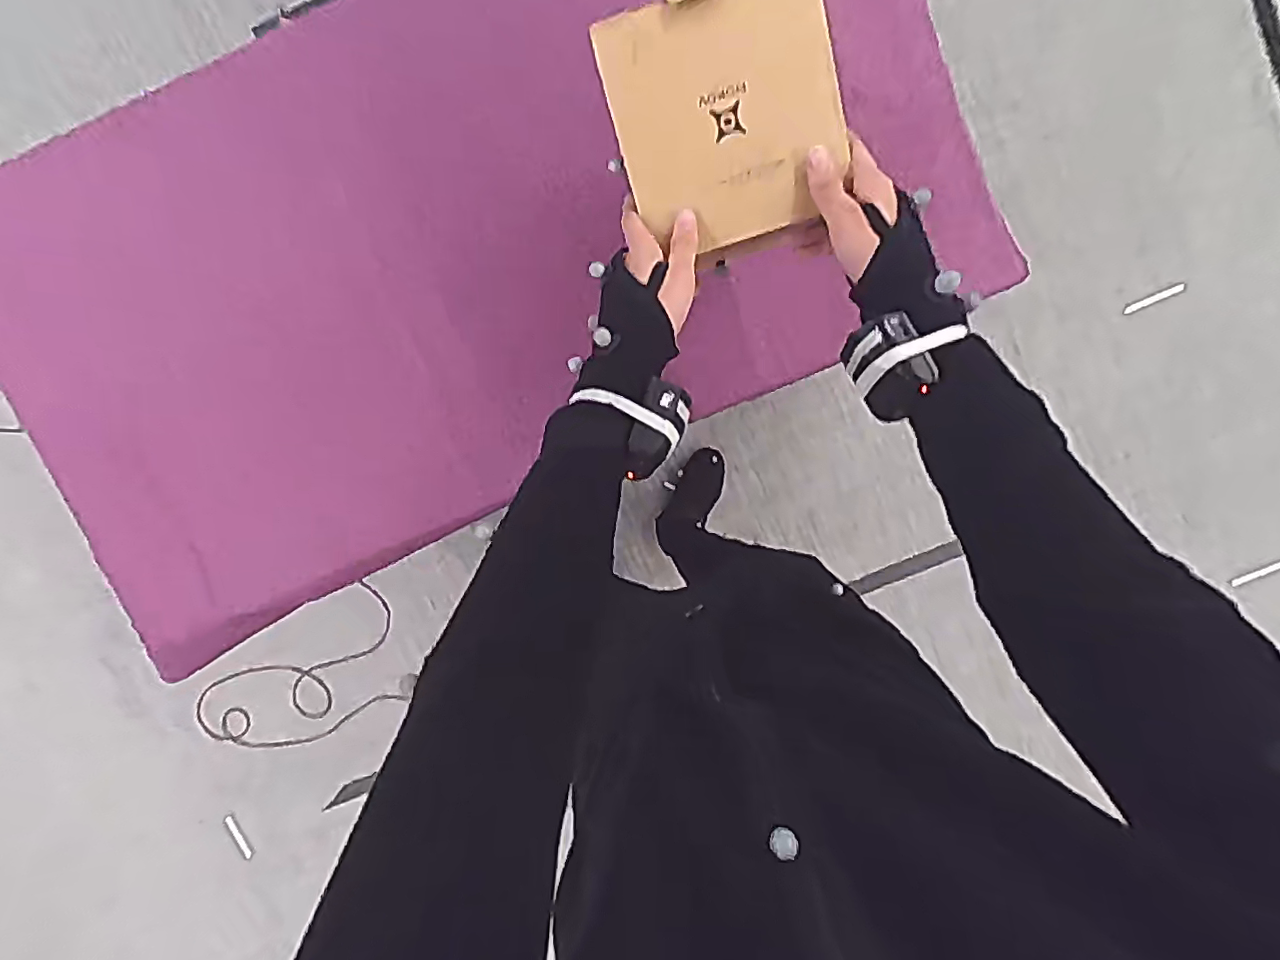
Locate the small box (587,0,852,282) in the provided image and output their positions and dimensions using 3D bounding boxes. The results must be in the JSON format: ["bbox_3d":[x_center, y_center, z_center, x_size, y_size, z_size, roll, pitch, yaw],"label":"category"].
[{"bbox_3d":[0.064,-0.289,0.473,0.168,0.176,0.179,-14,104,8],"label":"small box"}]
